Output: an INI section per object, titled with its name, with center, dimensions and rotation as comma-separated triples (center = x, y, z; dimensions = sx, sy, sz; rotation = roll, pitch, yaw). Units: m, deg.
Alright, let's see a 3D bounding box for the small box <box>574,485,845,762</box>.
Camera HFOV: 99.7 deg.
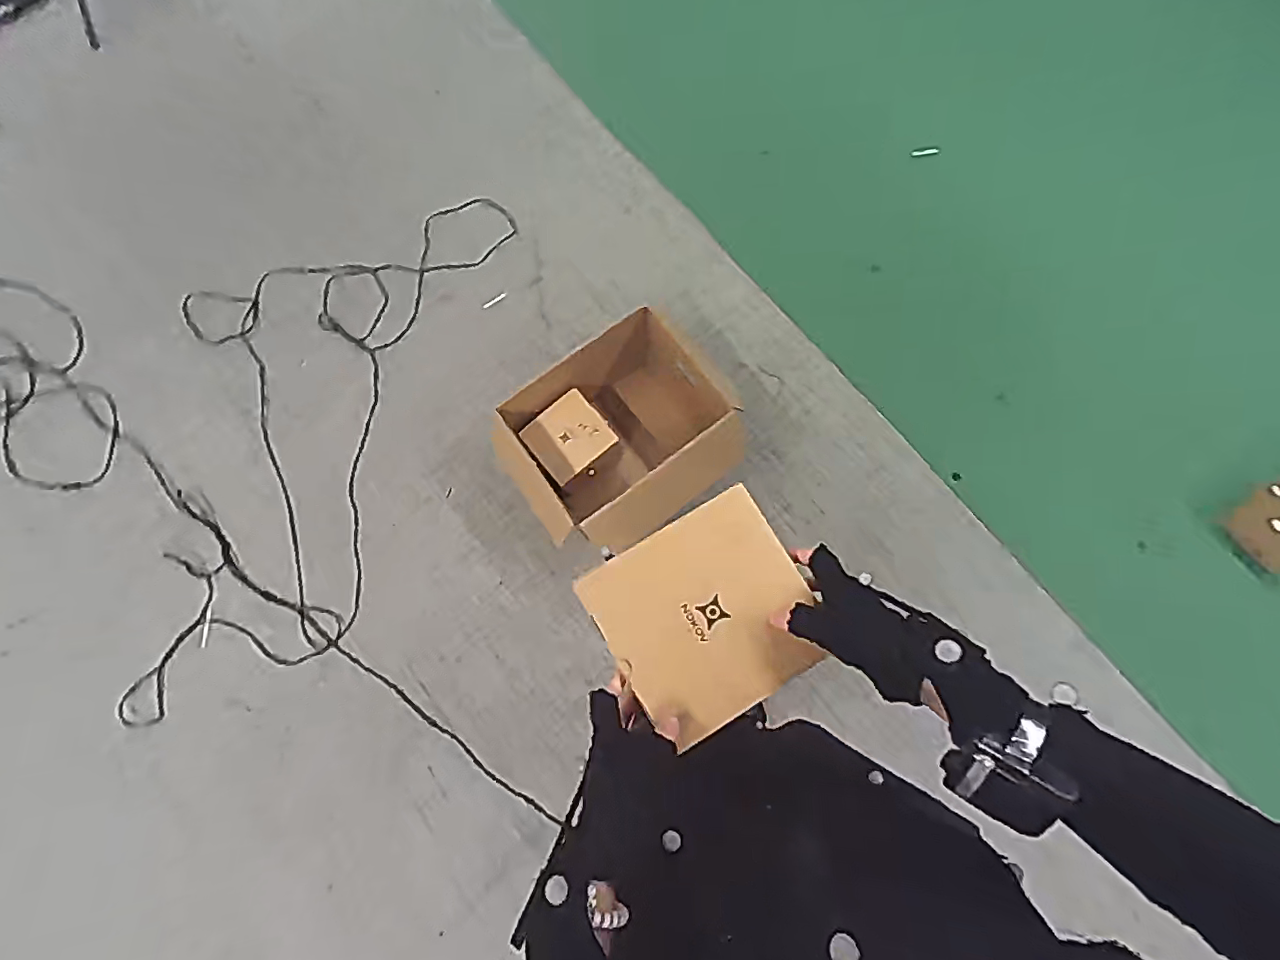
[small box]
center = 0.055, 0.125, 0.527
dimensions = 0.179, 0.176, 0.168
rotation = -32, 83, -5
